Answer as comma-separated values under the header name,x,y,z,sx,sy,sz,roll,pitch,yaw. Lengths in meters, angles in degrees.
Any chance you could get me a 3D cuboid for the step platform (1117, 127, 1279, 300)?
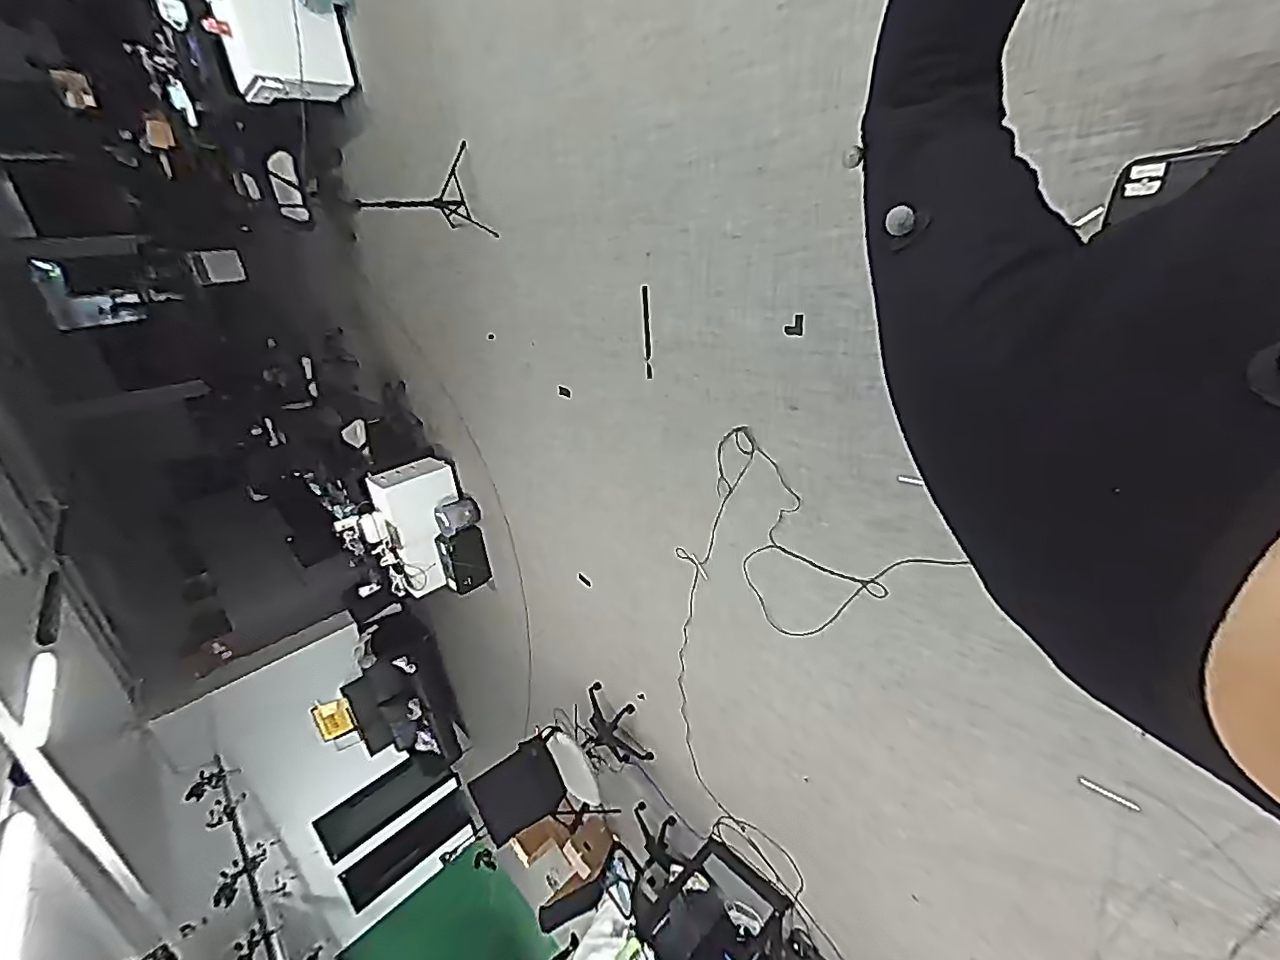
name,x,y,z,sx,sy,sz,roll,pitch,yaw
step platform,1.247,-0.460,0.894,0.684,0.204,0.286,16,122,43
